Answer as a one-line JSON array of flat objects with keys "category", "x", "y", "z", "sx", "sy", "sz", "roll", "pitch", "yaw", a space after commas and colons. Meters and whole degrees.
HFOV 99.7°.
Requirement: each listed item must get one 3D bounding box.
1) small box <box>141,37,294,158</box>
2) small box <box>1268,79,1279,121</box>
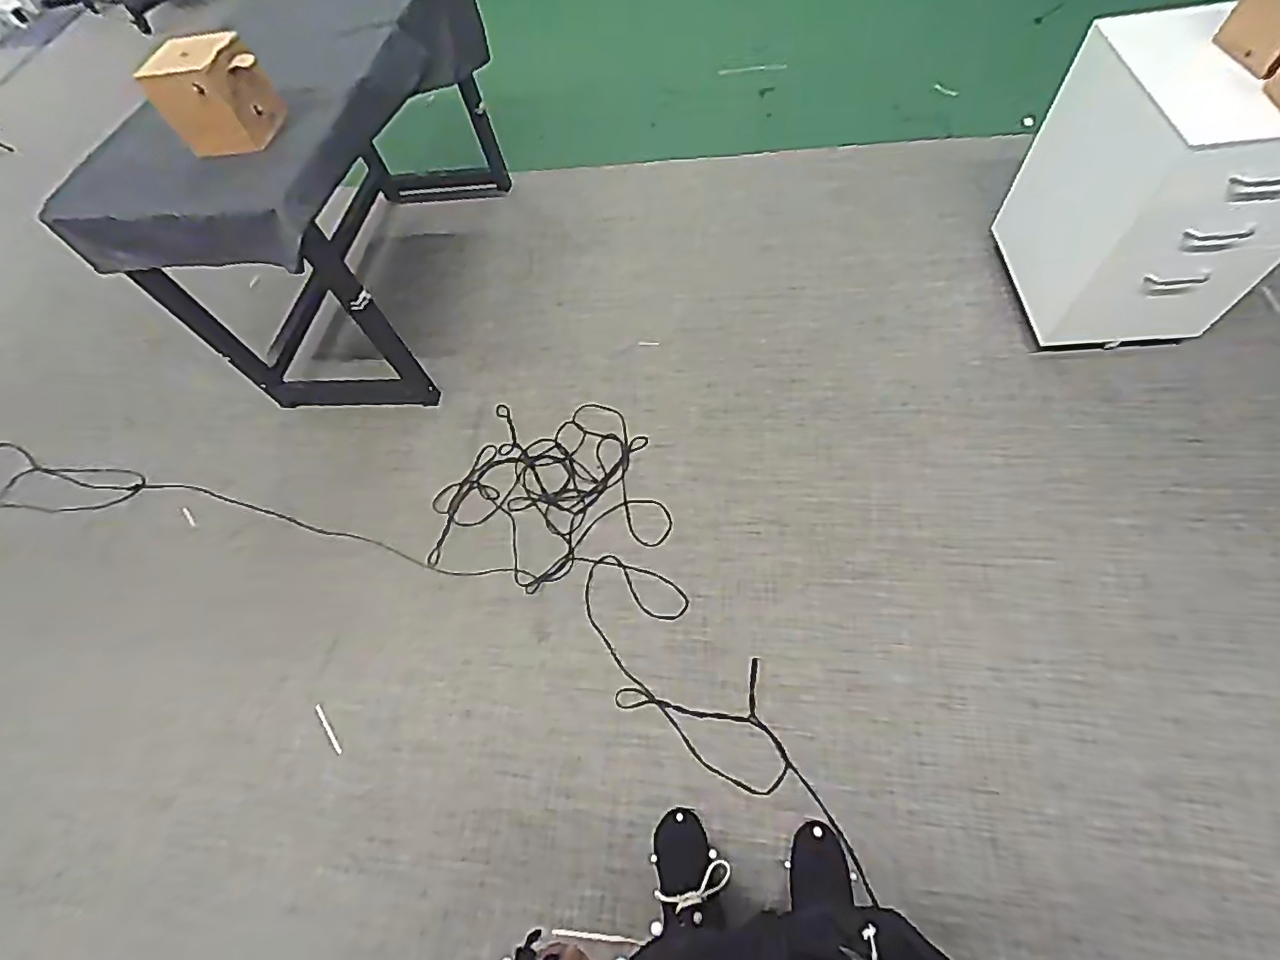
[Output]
[{"category": "small box", "x": -0.937, "y": -0.854, "z": 1.217, "sx": 0.179, "sy": 0.176, "sz": 0.168, "roll": 1, "pitch": 60, "yaw": 8}, {"category": "small box", "x": 1.304, "y": -0.728, "z": 0.963, "sx": 0.179, "sy": 0.176, "sz": 0.168, "roll": 2, "pitch": 61, "yaw": 9}]
